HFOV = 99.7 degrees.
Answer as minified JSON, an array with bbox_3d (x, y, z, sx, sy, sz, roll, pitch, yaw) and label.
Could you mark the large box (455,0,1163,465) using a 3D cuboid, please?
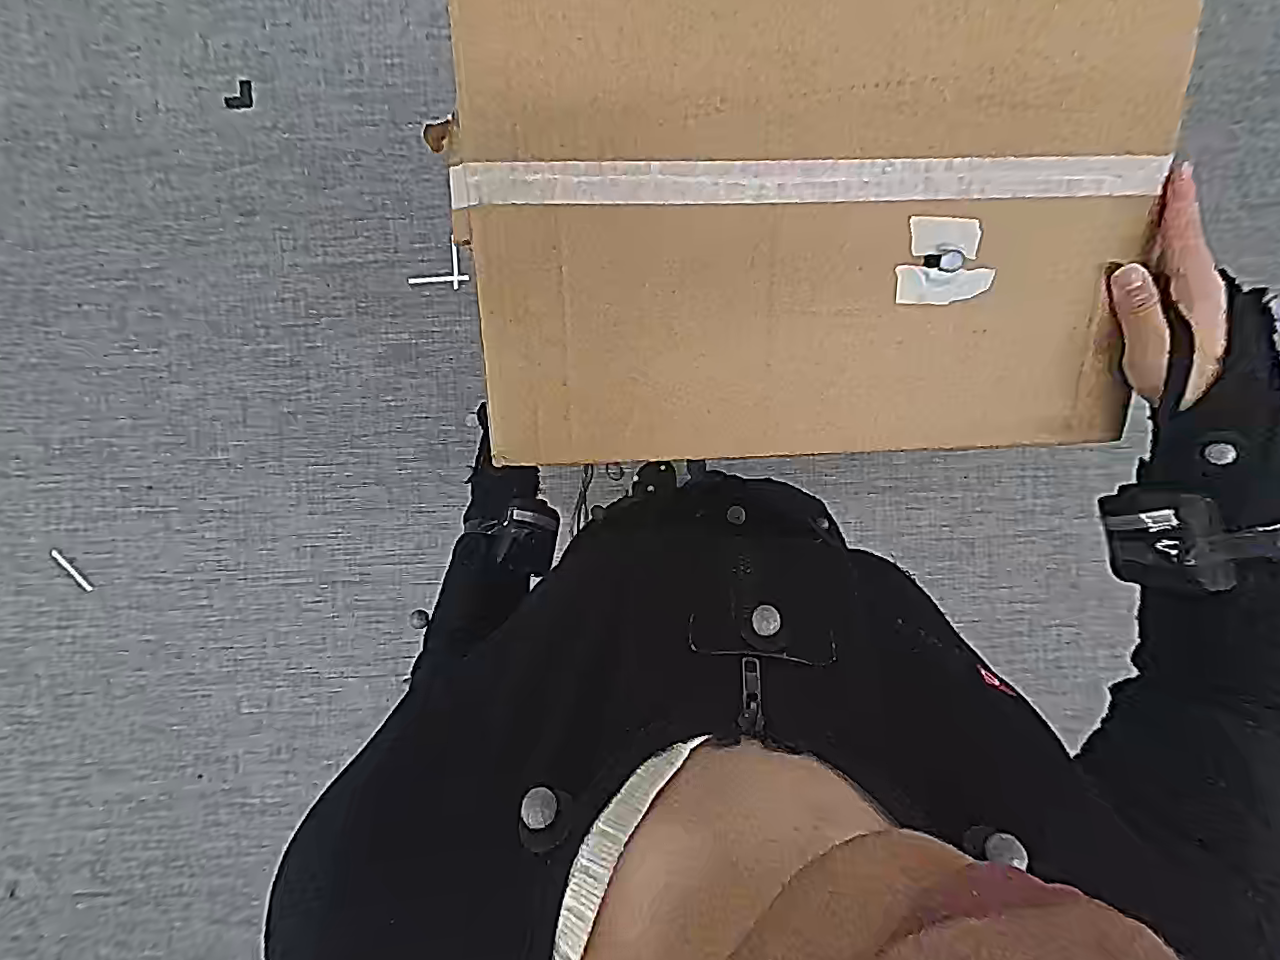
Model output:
[{"bbox_3d":[0.091,-0.204,0.462,0.408,0.320,0.320,-3,104,-5],"label":"large box"}]
